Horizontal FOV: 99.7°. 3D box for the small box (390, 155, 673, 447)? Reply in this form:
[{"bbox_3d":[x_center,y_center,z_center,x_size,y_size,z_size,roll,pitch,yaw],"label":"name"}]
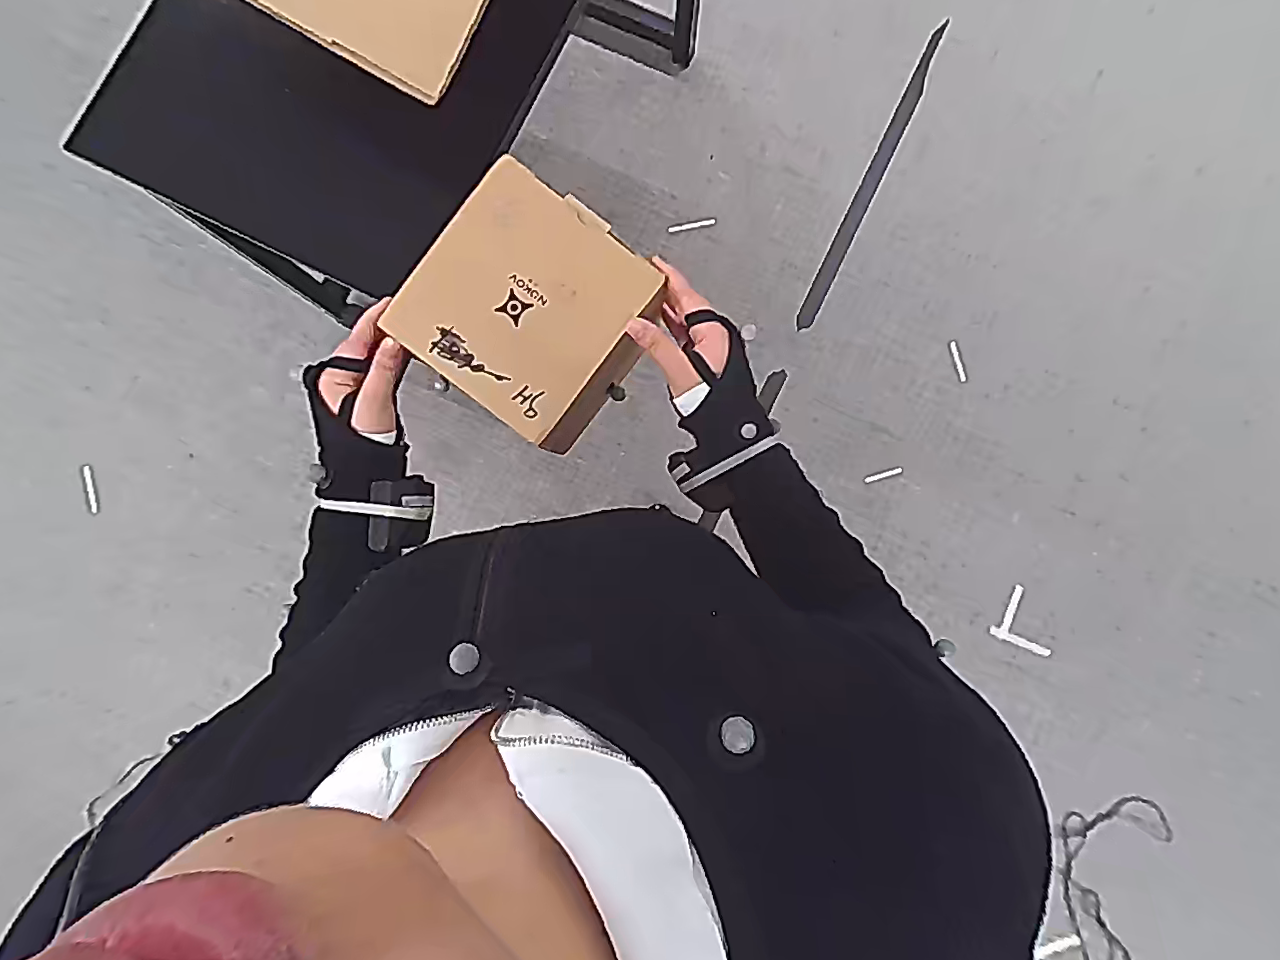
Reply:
[{"bbox_3d":[-0.091,-0.149,0.518,0.168,0.176,0.179,38,89,0],"label":"small box"}]
